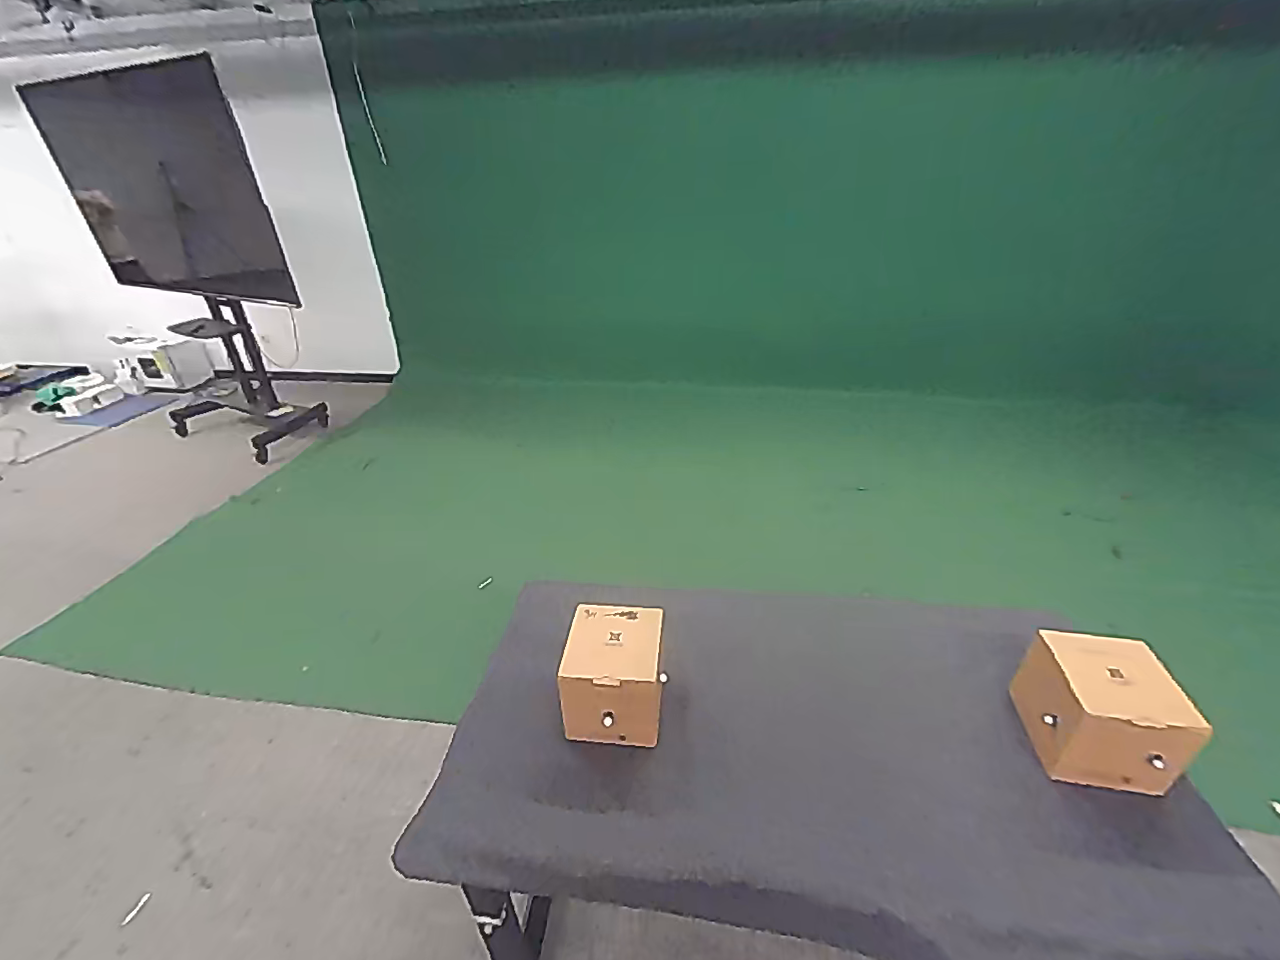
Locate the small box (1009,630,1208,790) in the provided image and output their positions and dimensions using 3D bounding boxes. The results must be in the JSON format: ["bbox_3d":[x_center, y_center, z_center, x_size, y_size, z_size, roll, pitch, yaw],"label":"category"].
[{"bbox_3d":[0.758,0.380,0.901,0.168,0.176,0.179,5,29,9],"label":"small box"}]

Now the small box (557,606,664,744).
[{"bbox_3d":[-0.044,0.356,0.993,0.168,0.176,0.179,2,30,6],"label":"small box"}]
